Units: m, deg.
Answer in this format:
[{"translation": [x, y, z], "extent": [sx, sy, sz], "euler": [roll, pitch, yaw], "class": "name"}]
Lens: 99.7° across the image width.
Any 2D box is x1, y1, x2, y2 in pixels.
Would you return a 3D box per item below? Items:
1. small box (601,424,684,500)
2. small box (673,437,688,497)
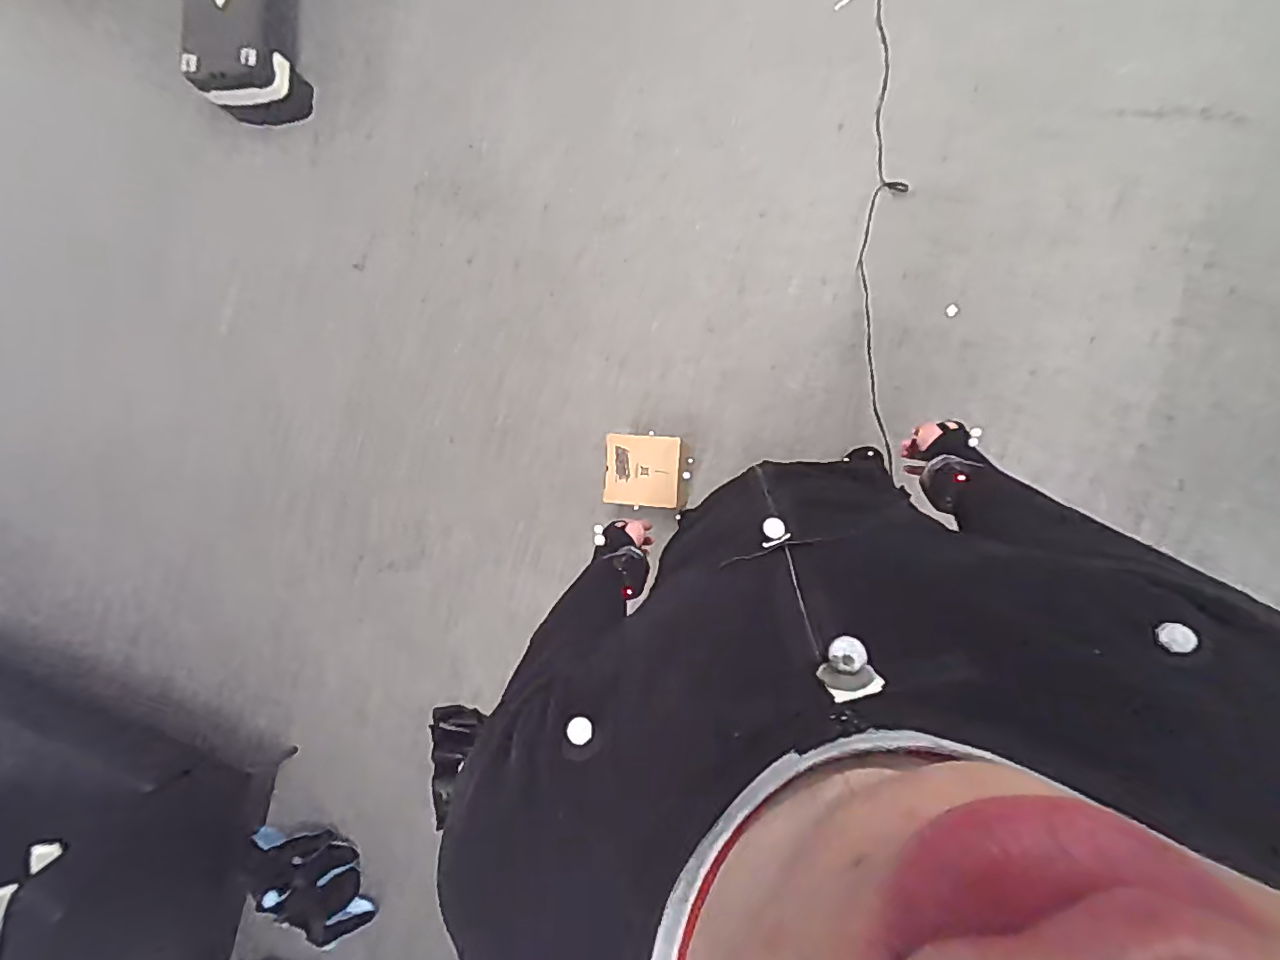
[{"translation": [0.011, -0.044, 1.343], "extent": [0.179, 0.176, 0.168], "euler": [5, 93, 8], "class": "small box"}, {"translation": [0.038, -0.045, 1.506], "extent": [0.179, 0.176, 0.168], "euler": [4, 92, 12], "class": "small box"}]
